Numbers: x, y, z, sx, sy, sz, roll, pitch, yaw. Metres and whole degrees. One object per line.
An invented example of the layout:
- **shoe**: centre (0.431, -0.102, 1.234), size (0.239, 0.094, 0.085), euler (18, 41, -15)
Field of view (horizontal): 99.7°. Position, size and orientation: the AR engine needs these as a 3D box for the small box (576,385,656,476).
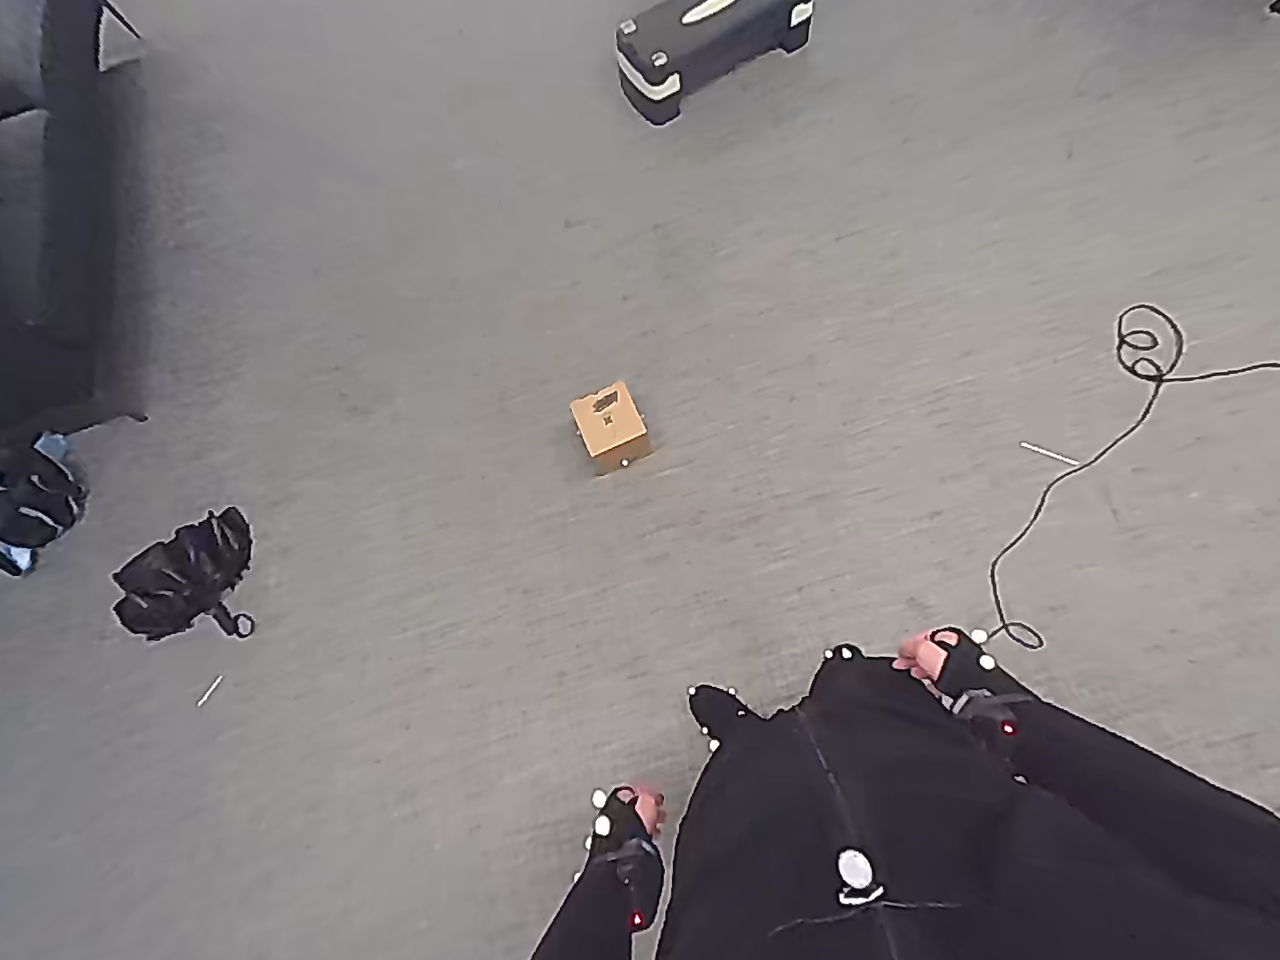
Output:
- **small box**: centre (-0.064, -0.135, 1.540), size (0.168, 0.176, 0.179), euler (-24, 71, 1)
